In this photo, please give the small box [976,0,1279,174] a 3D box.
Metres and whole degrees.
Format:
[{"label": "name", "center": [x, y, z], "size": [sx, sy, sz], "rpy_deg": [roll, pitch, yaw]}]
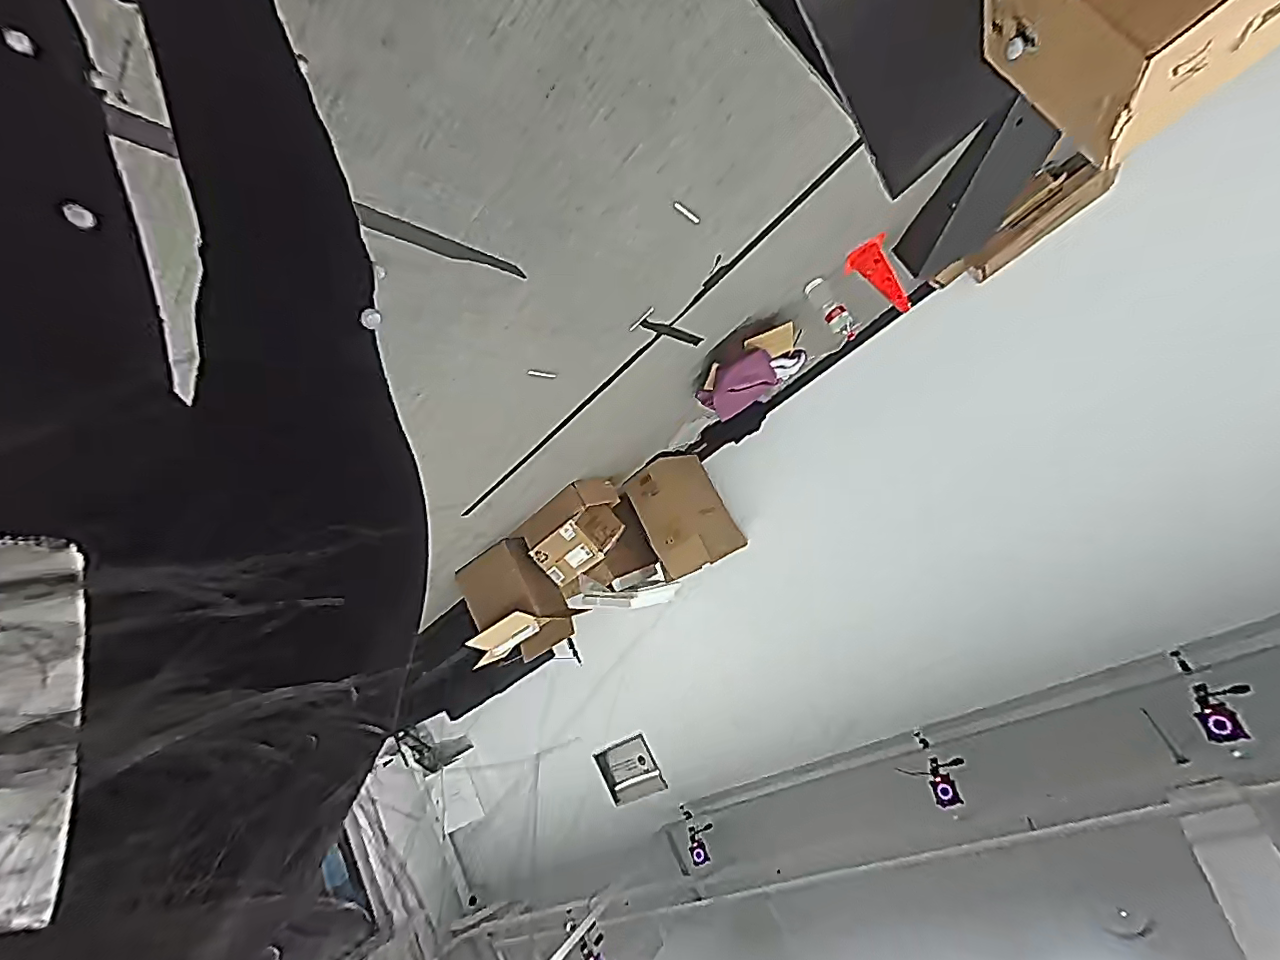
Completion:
[{"label": "small box", "center": [0.387, -0.384, 0.398], "size": [0.179, 0.176, 0.168], "rpy_deg": [-38, 162, 28]}]
